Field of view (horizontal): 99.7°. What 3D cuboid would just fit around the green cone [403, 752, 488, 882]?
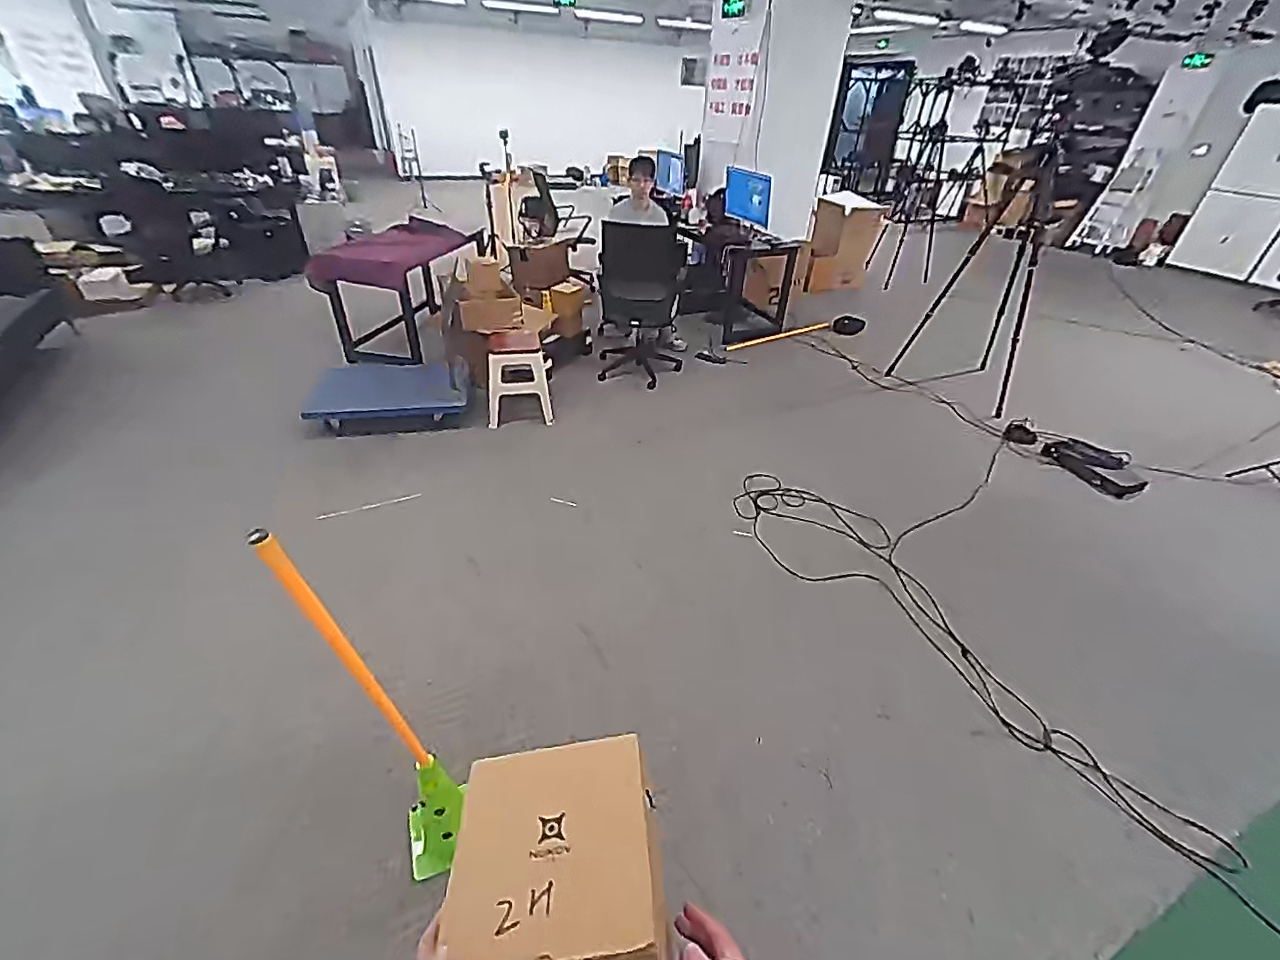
[{"bbox_3d":[-0.512,0.797,1.350,0.202,0.368,0.200,-11,38,-21],"label":"green cone"}]
